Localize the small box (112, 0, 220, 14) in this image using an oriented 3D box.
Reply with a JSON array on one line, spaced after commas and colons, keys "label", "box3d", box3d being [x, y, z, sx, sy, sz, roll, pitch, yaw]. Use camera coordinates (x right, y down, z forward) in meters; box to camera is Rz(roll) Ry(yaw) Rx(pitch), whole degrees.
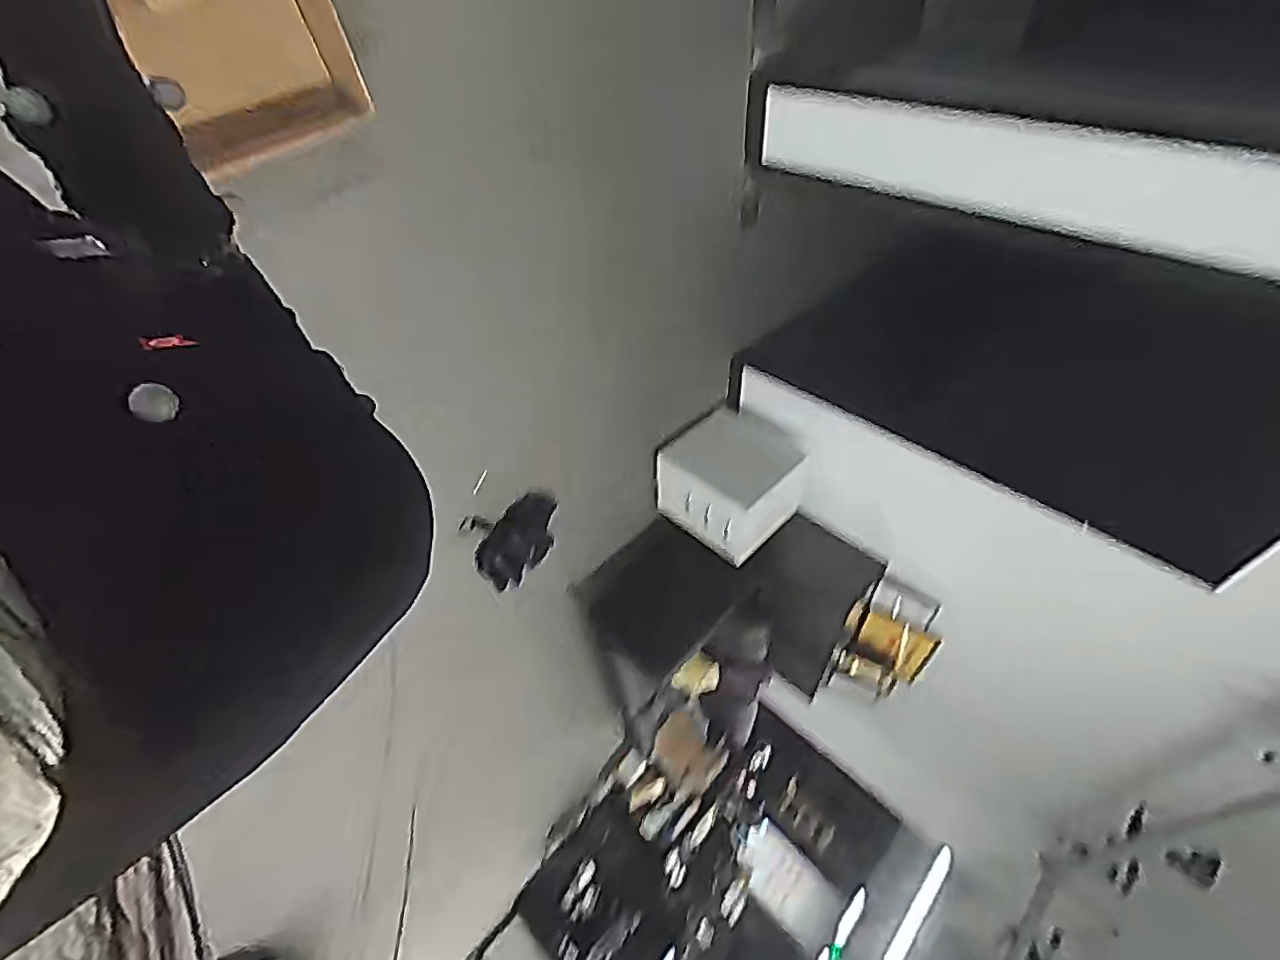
[{"label": "small box", "box3d": [-0.641, -0.729, 0.691, 0.168, 0.176, 0.179, -41, 146, -26]}]
